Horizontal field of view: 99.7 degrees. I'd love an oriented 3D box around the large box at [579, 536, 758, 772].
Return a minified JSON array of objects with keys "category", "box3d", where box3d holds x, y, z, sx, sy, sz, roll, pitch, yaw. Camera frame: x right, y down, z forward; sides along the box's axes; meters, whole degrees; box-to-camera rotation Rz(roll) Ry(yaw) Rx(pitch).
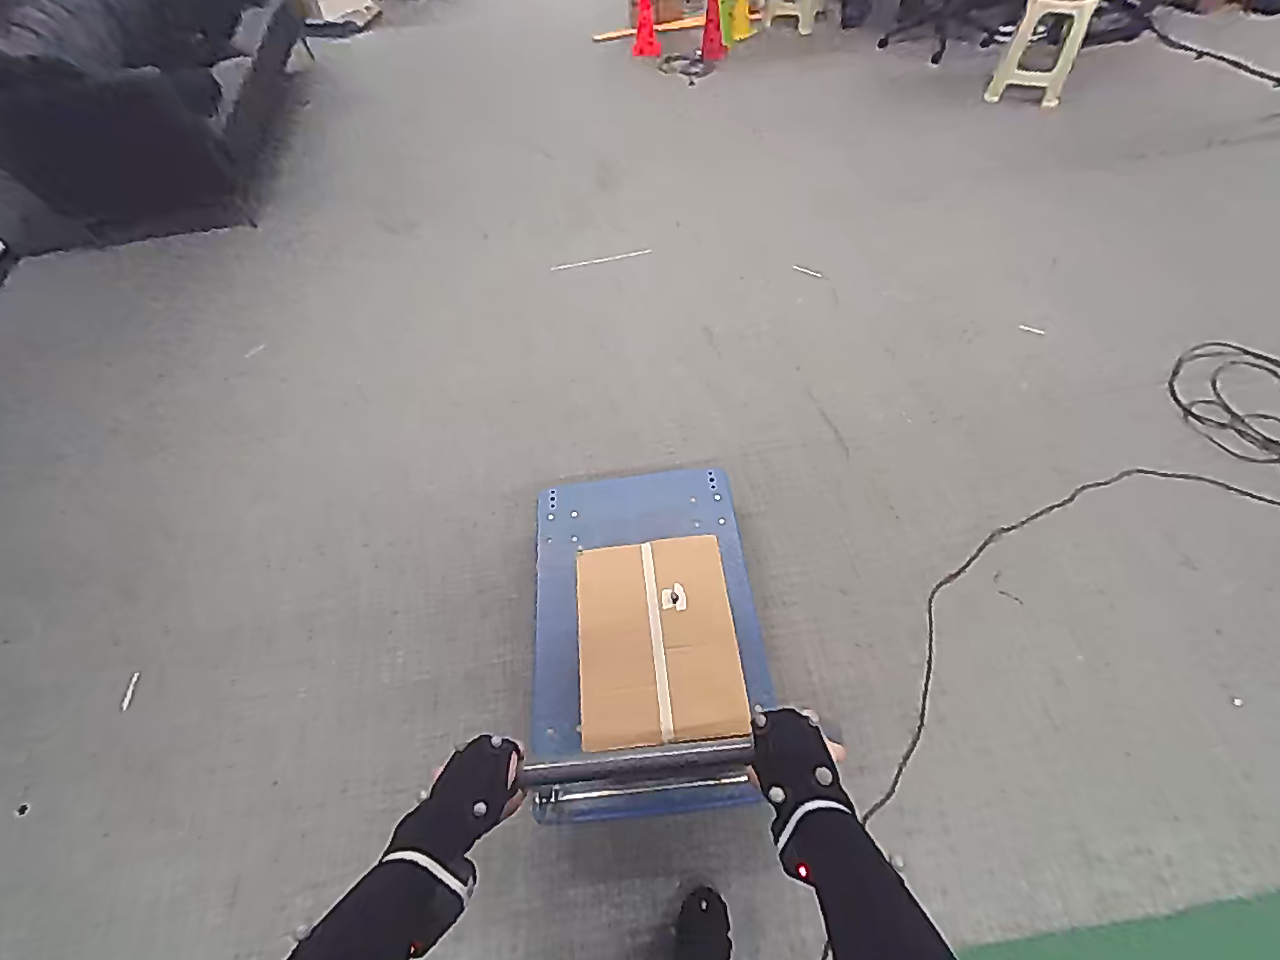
[{"category":"large box","box3d":[0.052,0.388,1.194,0.320,0.320,0.408,-7,56,0]}]
